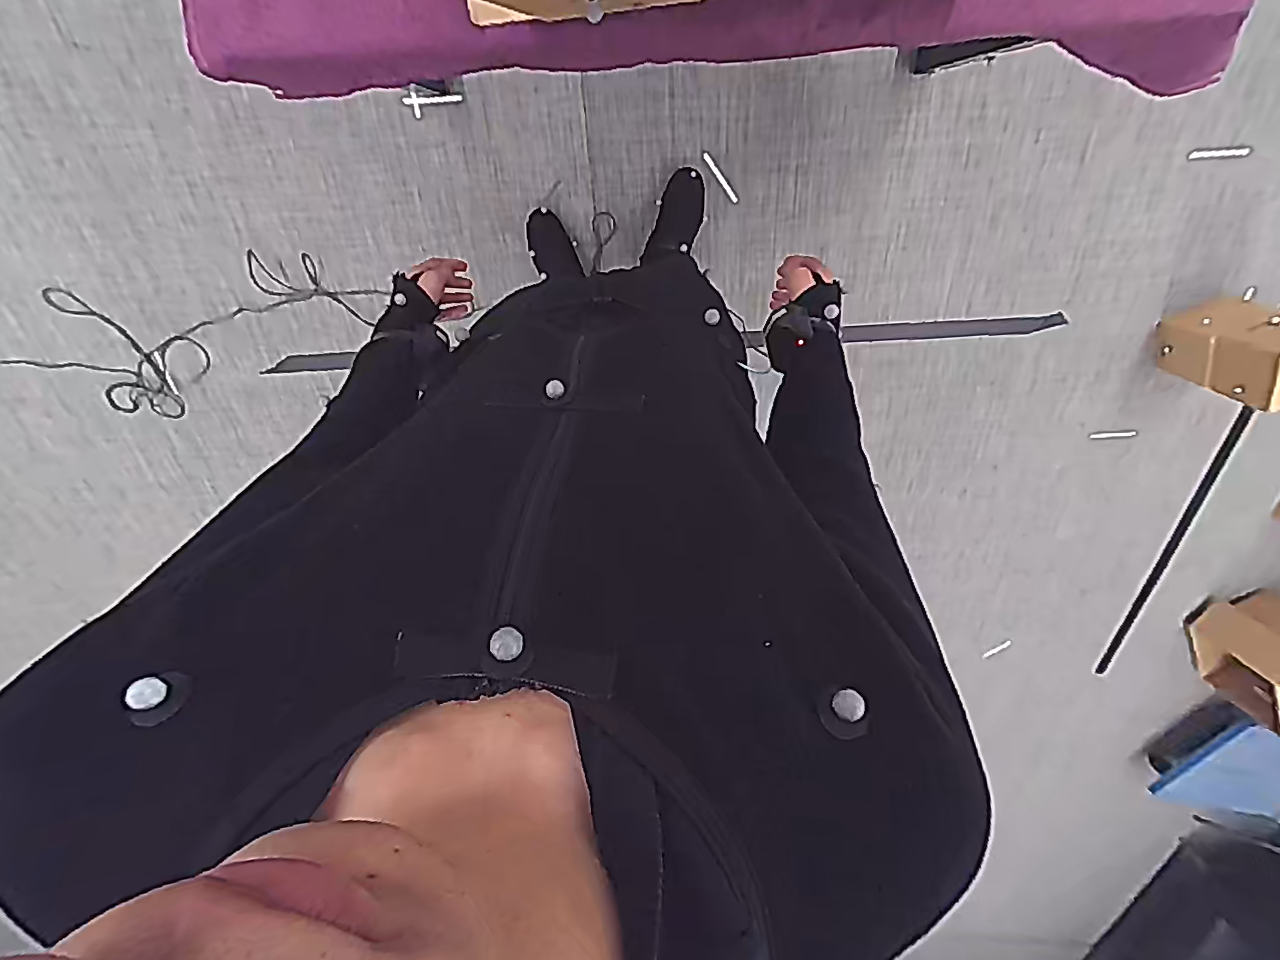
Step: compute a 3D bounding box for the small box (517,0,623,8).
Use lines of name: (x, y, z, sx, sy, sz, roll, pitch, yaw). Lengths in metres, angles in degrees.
small box: (-0.045, -0.485, 0.410, 0.168, 0.176, 0.179, 7, 125, 17)
